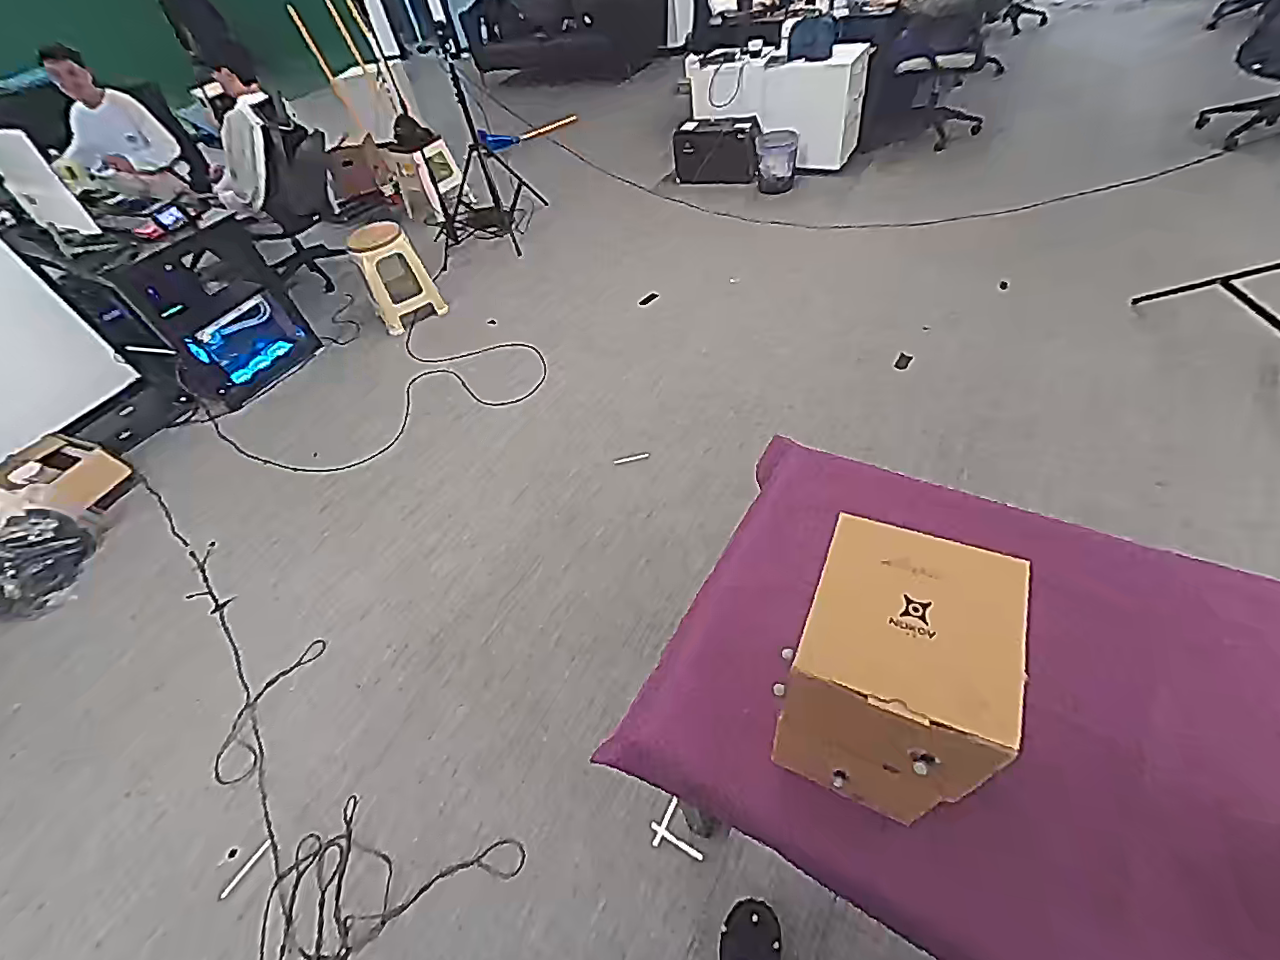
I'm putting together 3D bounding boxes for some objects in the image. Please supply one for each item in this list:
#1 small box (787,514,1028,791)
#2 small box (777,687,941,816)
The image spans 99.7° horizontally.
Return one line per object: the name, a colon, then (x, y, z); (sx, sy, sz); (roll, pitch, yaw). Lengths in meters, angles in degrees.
small box: (0.246, 0.167, 0.523); (0.168, 0.176, 0.179); (16, 53, 21)
small box: (0.270, 0.267, 0.649); (0.168, 0.176, 0.179); (17, 54, 23)
